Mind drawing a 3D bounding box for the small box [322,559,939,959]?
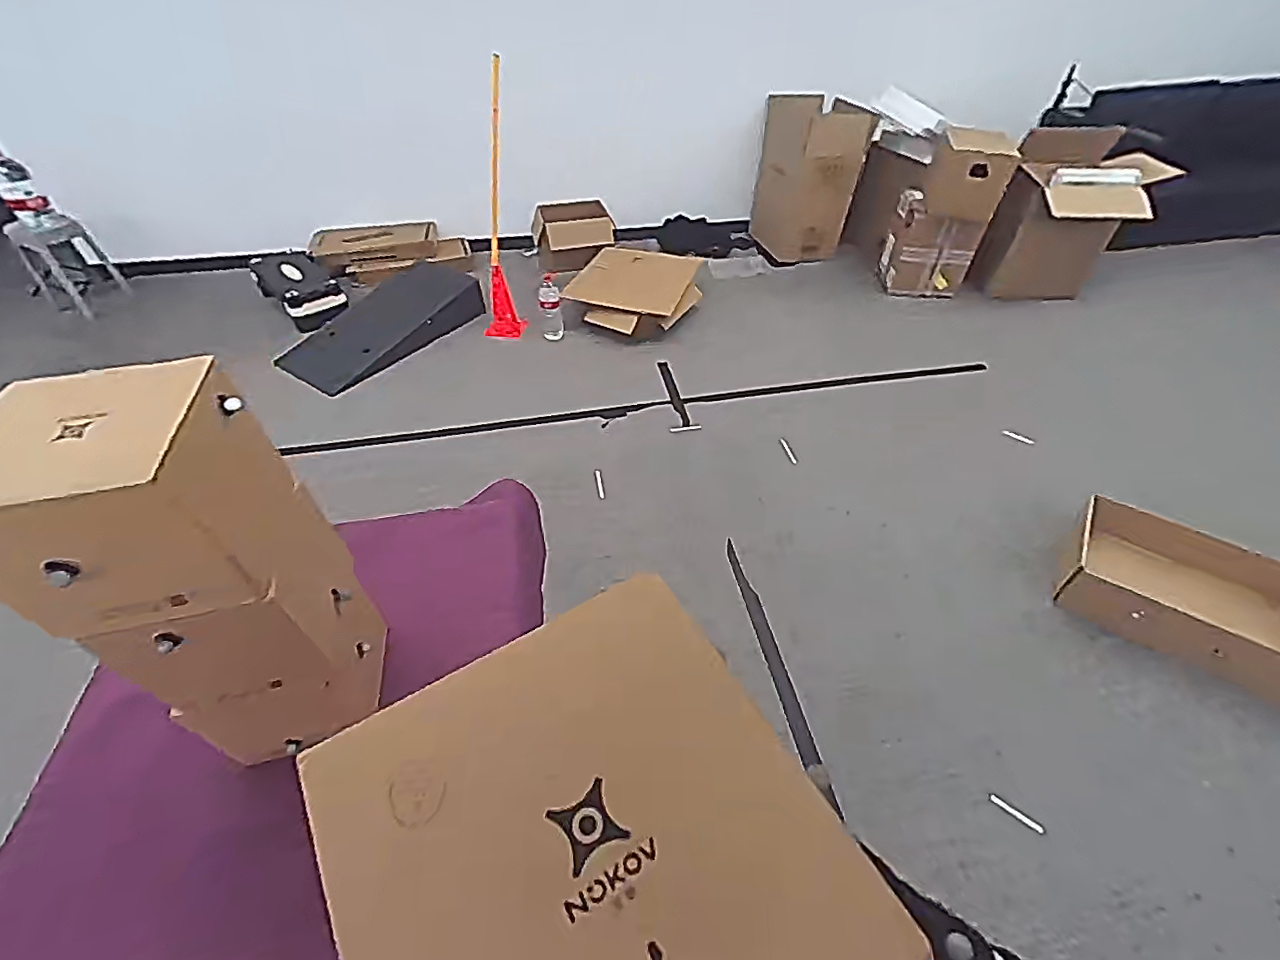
[{"bbox_3d":[-0.017,0.176,0.257,0.168,0.176,0.179,-24,57,-22],"label":"small box"}]

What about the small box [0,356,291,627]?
[{"bbox_3d":[-0.454,0.015,0.496,0.168,0.176,0.179,-11,47,-11],"label":"small box"}]

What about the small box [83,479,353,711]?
[{"bbox_3d":[-0.446,0.128,0.614,0.168,0.176,0.179,-12,46,-11],"label":"small box"}]
